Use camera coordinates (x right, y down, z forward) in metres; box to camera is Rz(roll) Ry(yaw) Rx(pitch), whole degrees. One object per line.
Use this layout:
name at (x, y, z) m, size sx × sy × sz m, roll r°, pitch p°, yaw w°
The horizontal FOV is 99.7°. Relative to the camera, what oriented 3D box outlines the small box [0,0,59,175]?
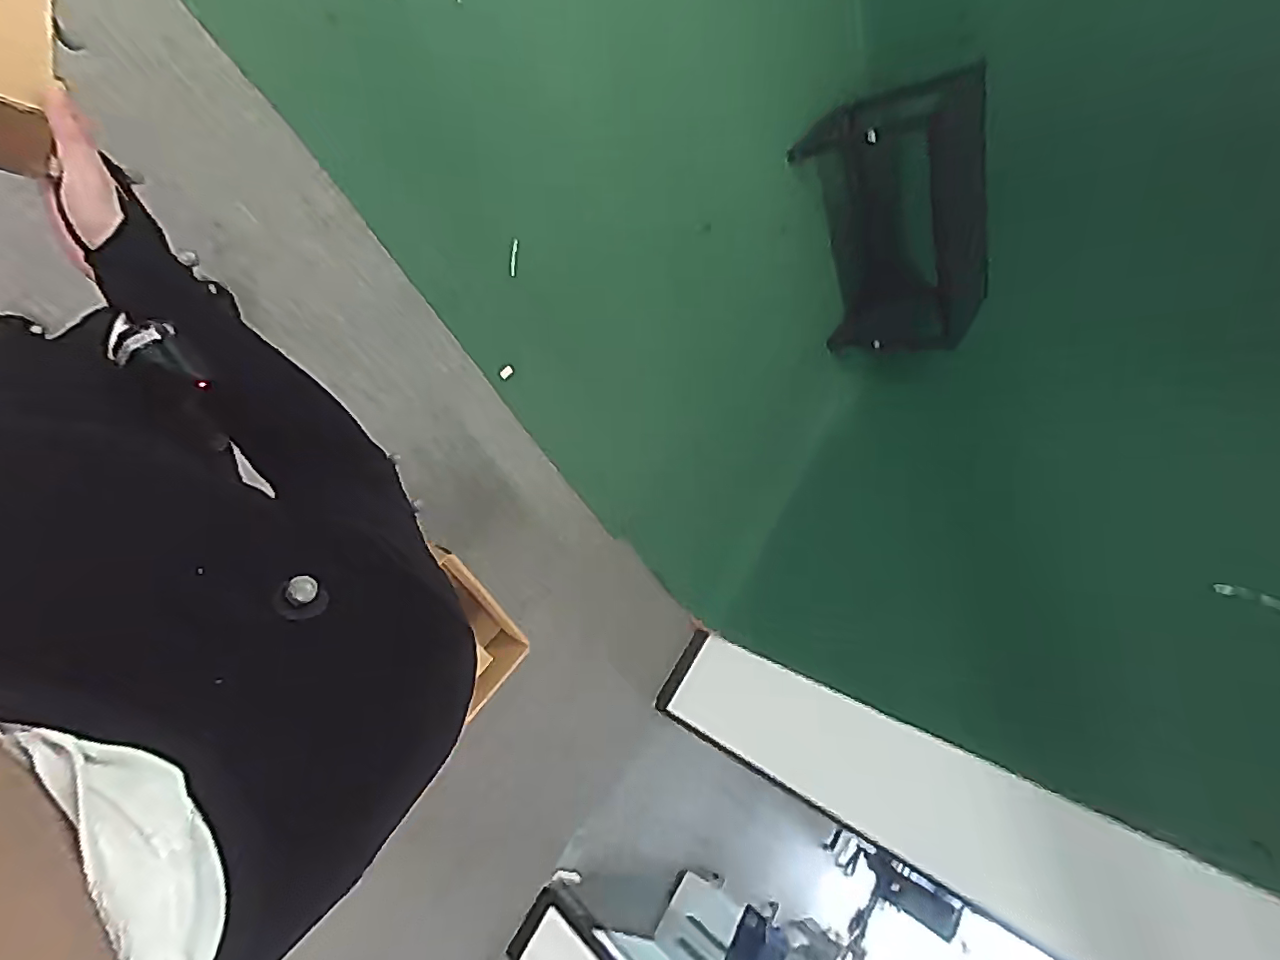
small box at (-0.541, -0.354, 0.383) m, size 0.168 × 0.176 × 0.179 m, roll -2°, pitch 99°, yaw -50°
